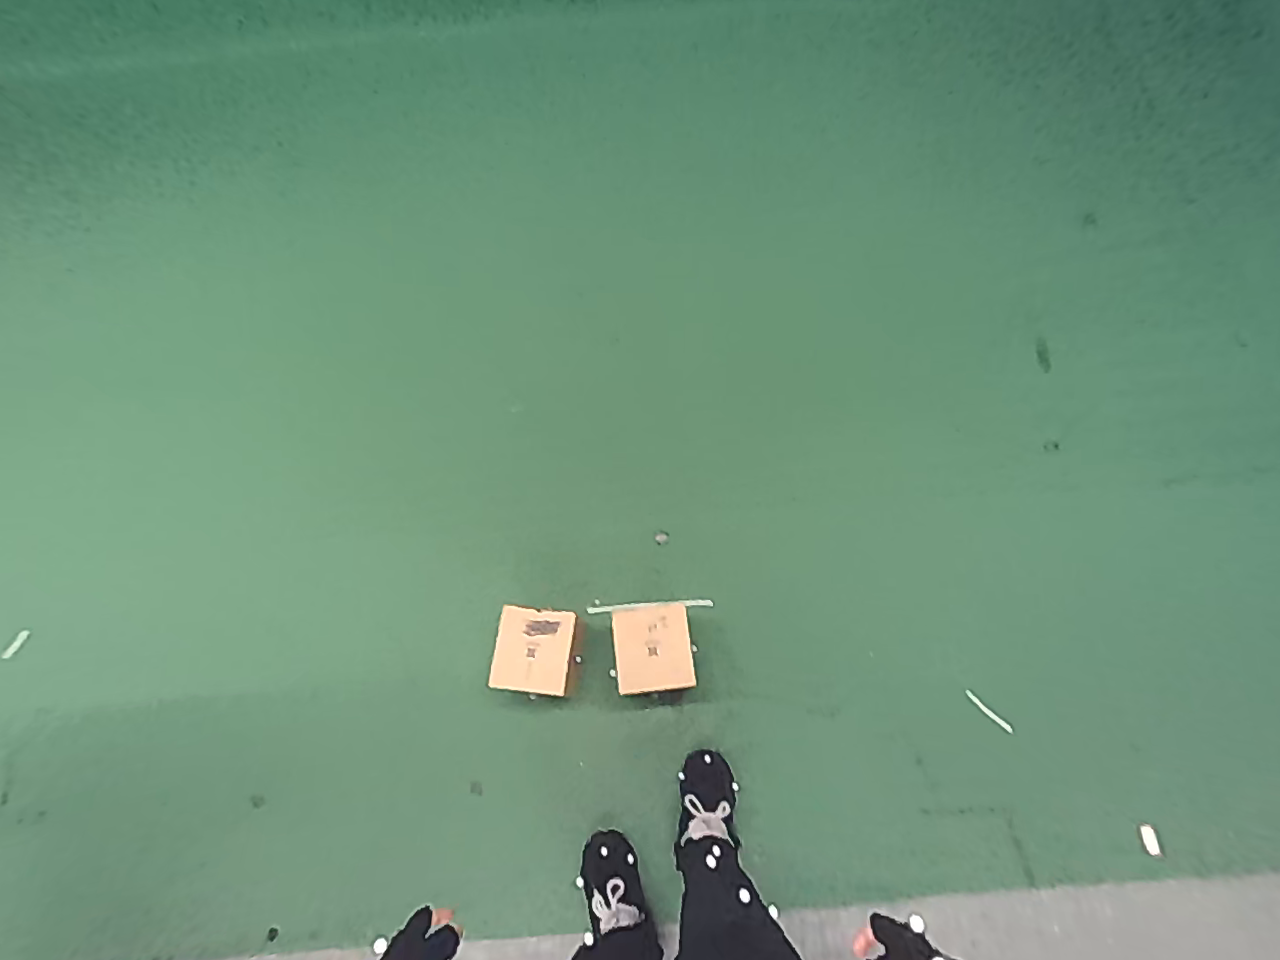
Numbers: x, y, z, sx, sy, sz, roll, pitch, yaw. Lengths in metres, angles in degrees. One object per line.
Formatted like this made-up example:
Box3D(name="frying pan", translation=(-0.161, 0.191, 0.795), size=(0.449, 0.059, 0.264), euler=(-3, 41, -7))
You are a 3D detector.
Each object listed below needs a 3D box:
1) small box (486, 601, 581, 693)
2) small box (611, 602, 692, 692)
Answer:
Box3D(name="small box", translation=(-0.234, 0.387, 1.241), size=(0.168, 0.176, 0.179), euler=(6, 69, 4))
Box3D(name="small box", translation=(0.025, 0.385, 1.236), size=(0.168, 0.176, 0.179), euler=(-5, 68, -2))
